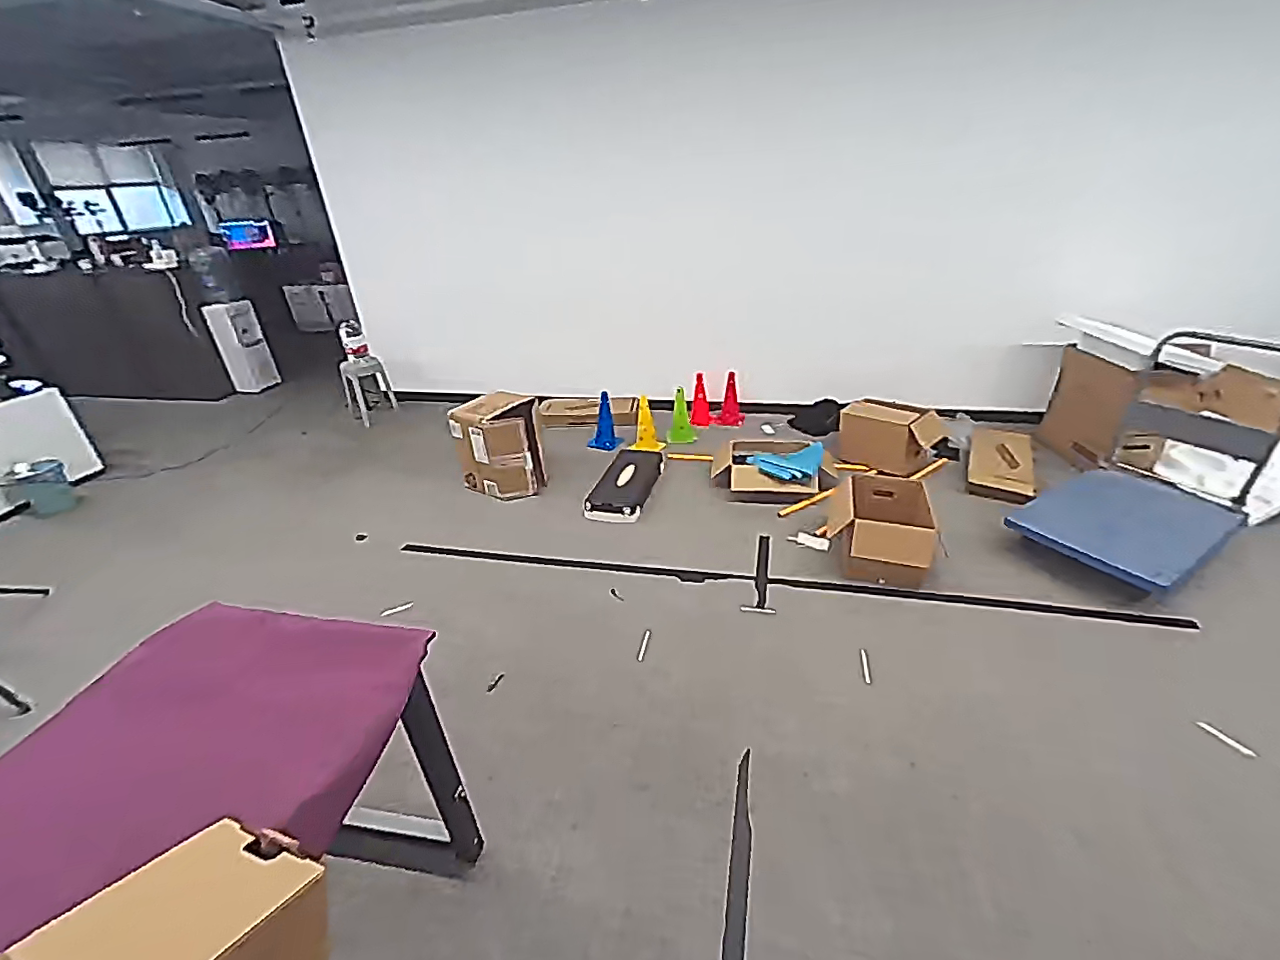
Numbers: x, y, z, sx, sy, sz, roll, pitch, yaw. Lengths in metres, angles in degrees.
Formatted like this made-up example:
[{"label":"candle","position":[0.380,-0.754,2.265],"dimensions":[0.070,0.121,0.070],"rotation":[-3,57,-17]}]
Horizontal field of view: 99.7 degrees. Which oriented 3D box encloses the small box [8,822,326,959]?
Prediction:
[{"label":"small box","position":[-0.422,0.475,0.503],"dimensions":[0.168,0.176,0.179],"rotation":[5,5,22]}]
